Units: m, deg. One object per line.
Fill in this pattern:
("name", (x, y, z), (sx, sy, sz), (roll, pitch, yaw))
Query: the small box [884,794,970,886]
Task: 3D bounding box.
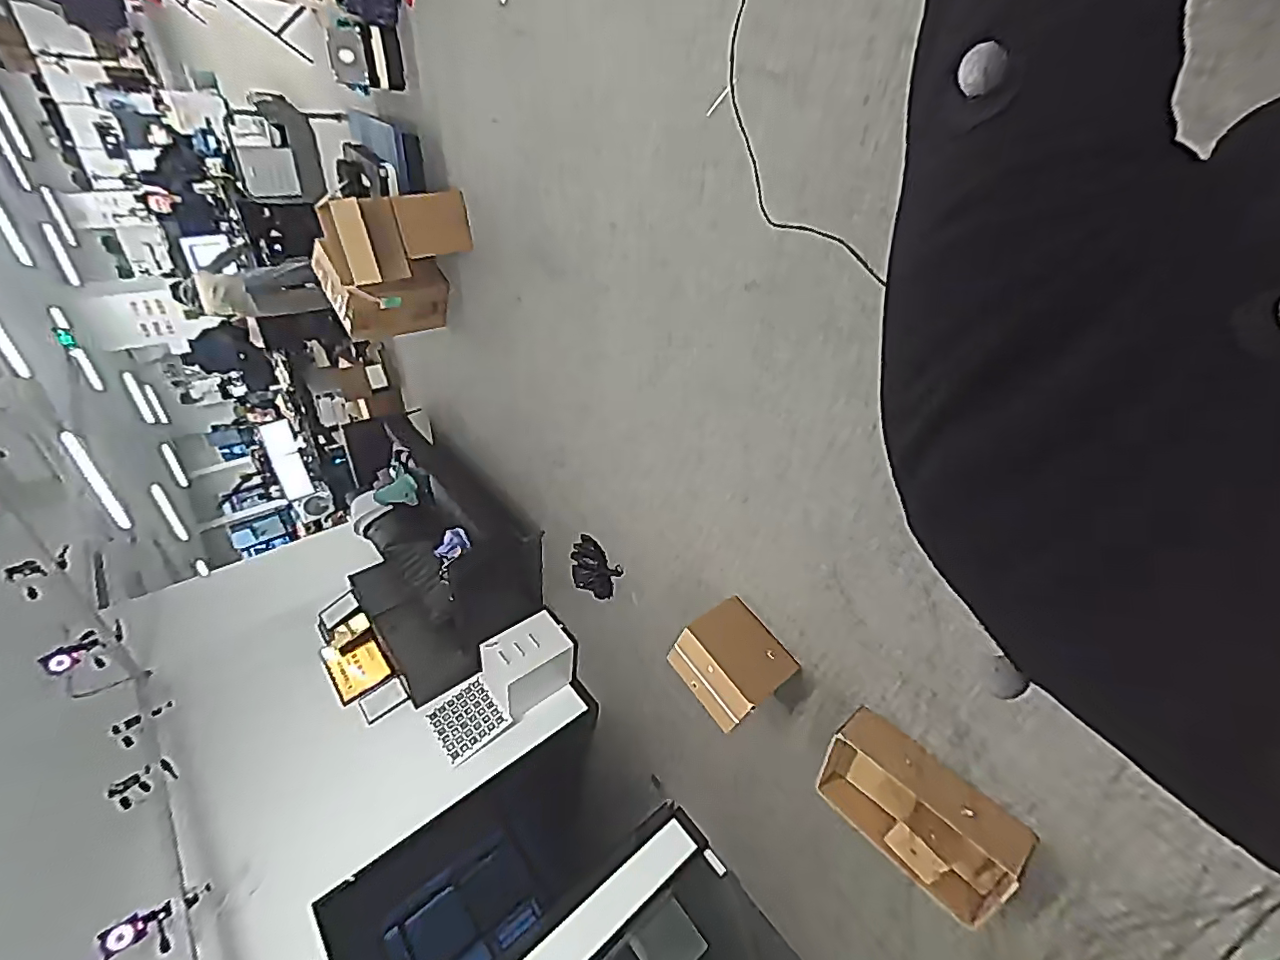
("small box", (0.987, 1.228, 1.854), (0.179, 0.176, 0.168), (41, 138, 36))
